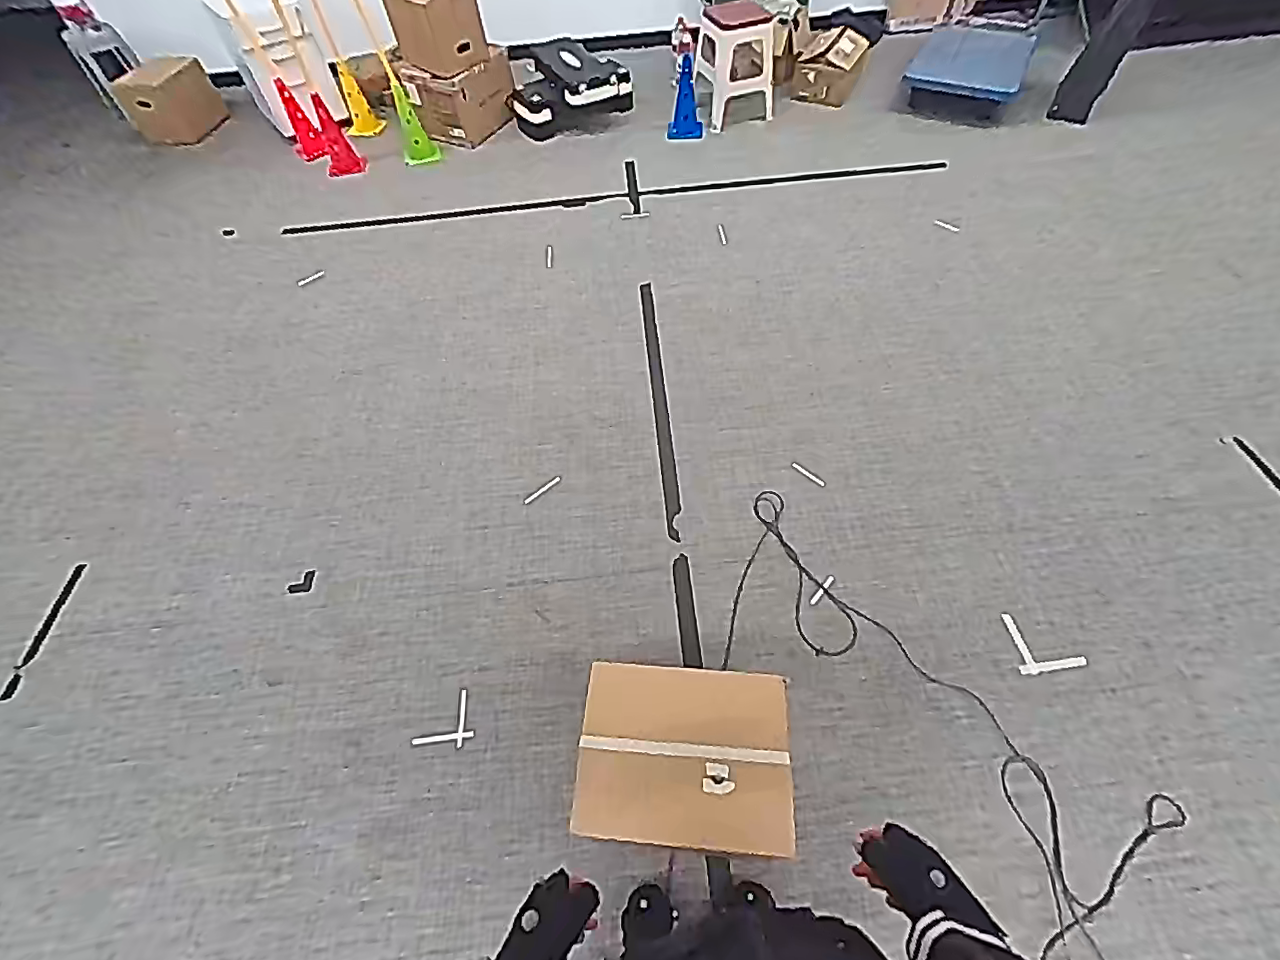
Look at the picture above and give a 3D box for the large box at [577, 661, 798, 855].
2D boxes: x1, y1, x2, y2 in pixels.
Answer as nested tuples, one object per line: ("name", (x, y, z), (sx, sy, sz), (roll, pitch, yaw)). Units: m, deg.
("large box", (0.097, 0.603, 1.166), (0.408, 0.320, 0.320), (2, 54, 5))
